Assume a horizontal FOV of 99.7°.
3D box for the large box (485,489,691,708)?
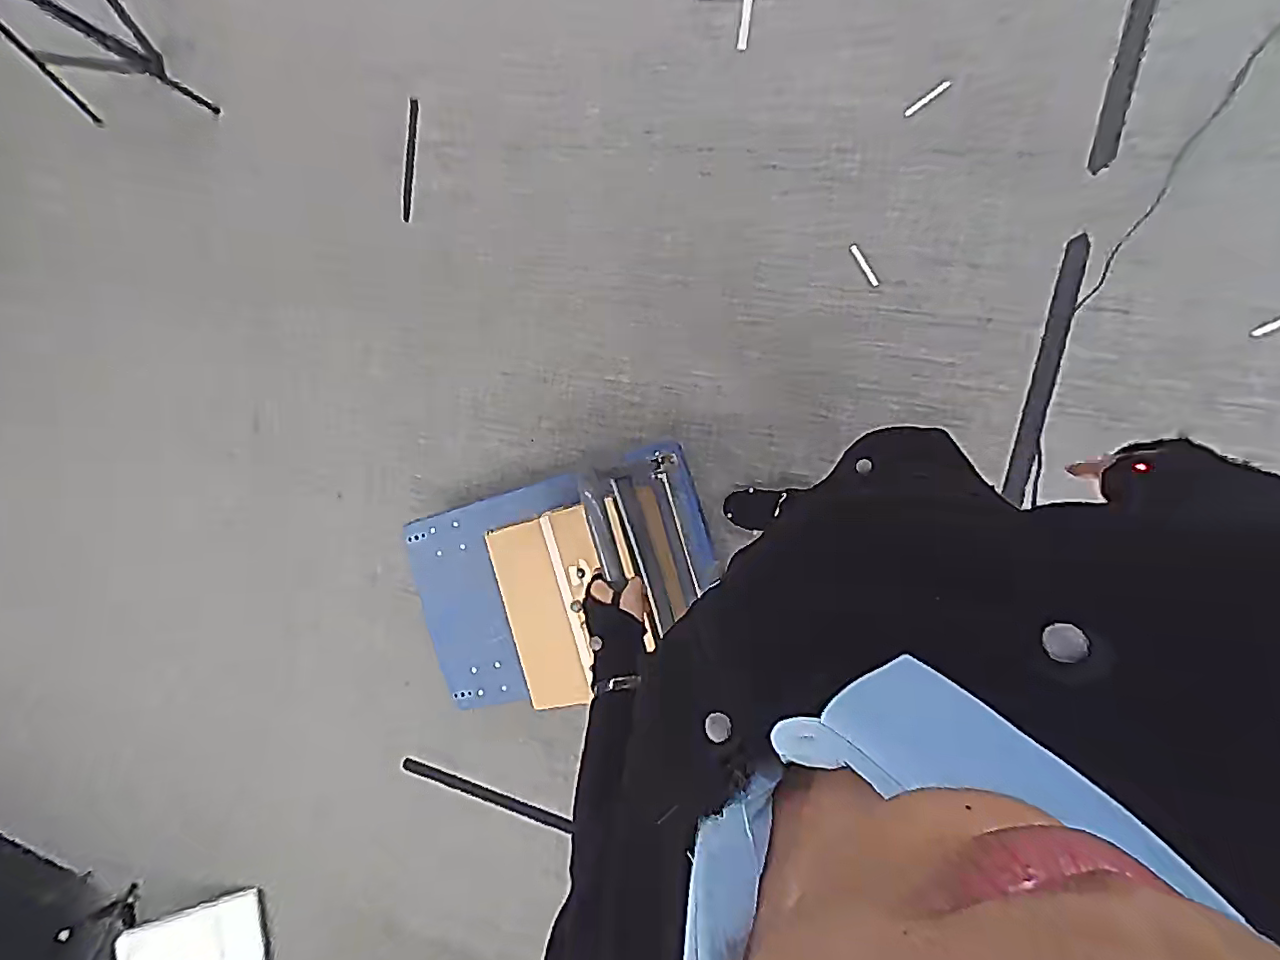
[{"bbox_3d":[-0.104,0.260,1.283,0.320,0.320,0.408,-16,89,16],"label":"large box"}]
